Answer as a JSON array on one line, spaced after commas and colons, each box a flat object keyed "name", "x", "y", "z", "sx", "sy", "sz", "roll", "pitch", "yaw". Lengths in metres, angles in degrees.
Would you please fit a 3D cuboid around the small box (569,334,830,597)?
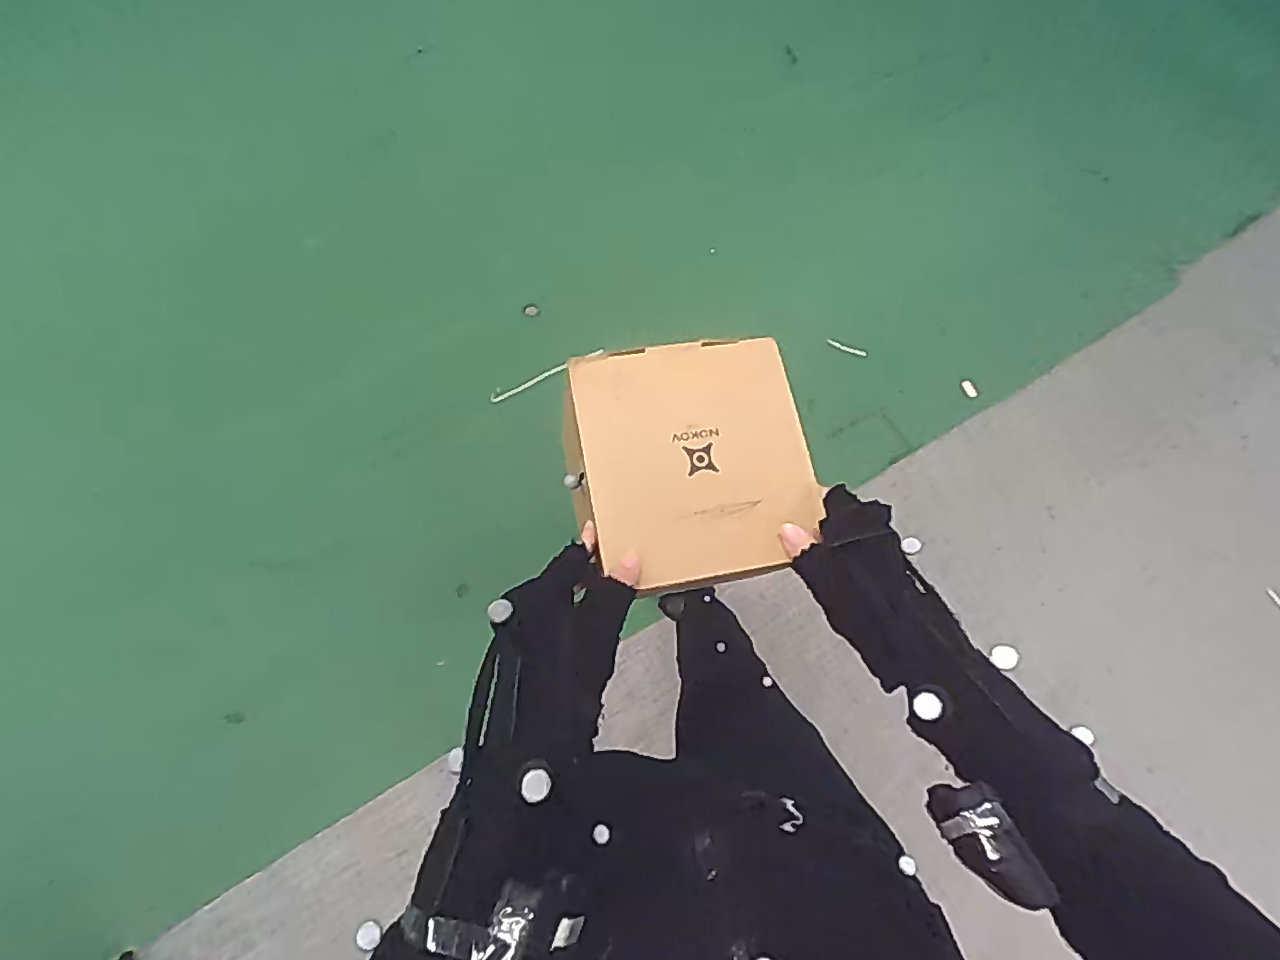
[{"name": "small box", "x": 0.032, "y": -0.002, "z": 0.475, "sx": 0.168, "sy": 0.176, "sz": 0.179, "roll": -10, "pitch": 77, "yaw": -11}]
